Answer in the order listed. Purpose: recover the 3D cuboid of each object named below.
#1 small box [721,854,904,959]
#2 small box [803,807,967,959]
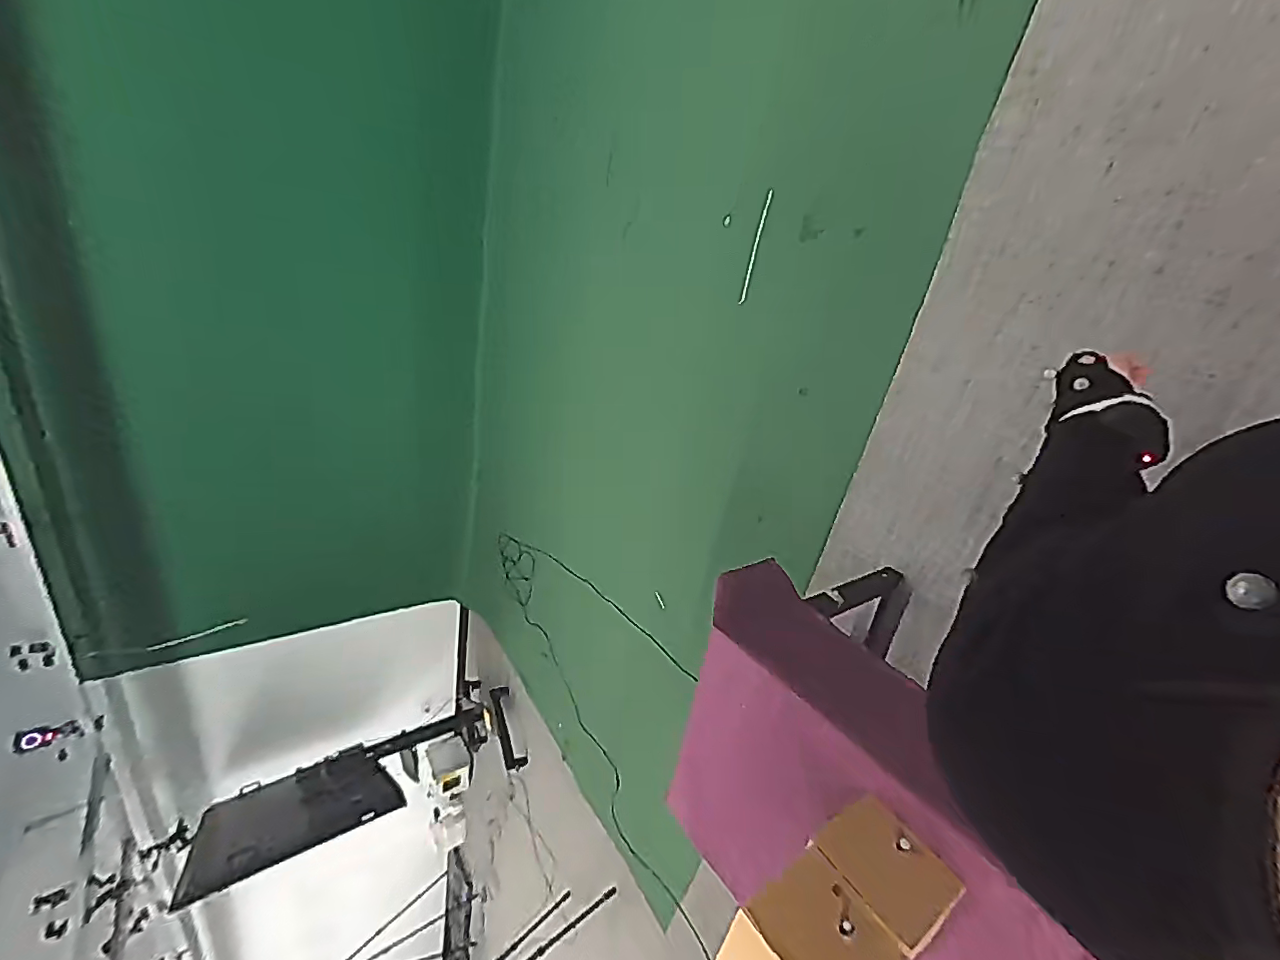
[{"bbox_3d":[0.238,0.689,0.763,0.168,0.176,0.179,37,123,43],"label":"small box"},{"bbox_3d":[0.369,0.660,0.857,0.179,0.176,0.168,37,125,45],"label":"small box"}]
